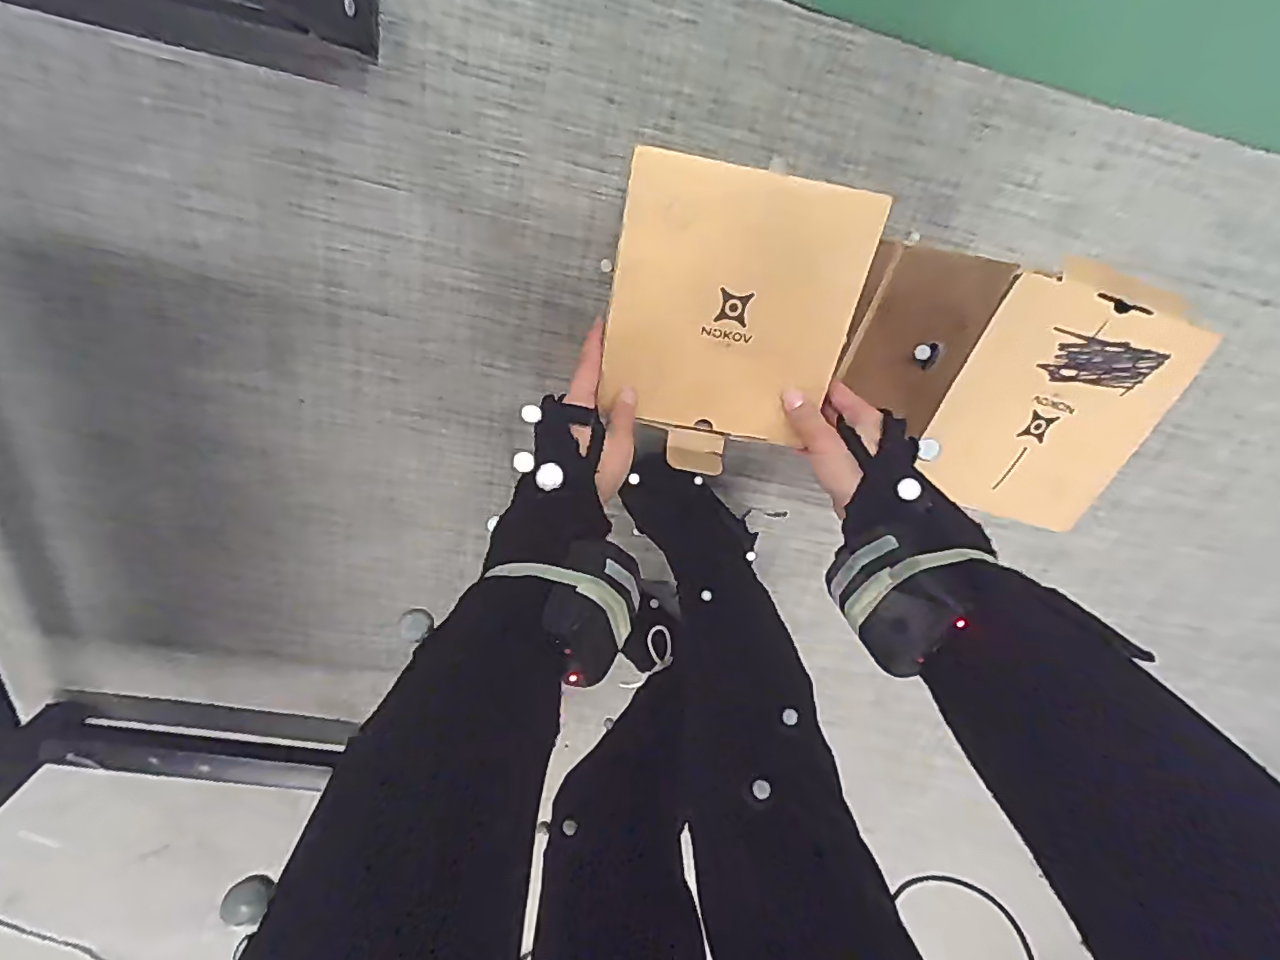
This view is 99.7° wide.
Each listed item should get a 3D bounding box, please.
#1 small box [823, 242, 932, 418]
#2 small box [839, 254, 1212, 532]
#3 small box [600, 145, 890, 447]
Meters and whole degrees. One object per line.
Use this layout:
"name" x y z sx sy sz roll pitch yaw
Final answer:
"small box" 0.294 -0.164 0.623 0.168 0.176 0.179 15 117 -7
"small box" 0.303 -0.086 0.478 0.168 0.176 0.179 15 117 -7
"small box" 0.062 -0.148 0.440 0.168 0.176 0.179 9 117 -5
